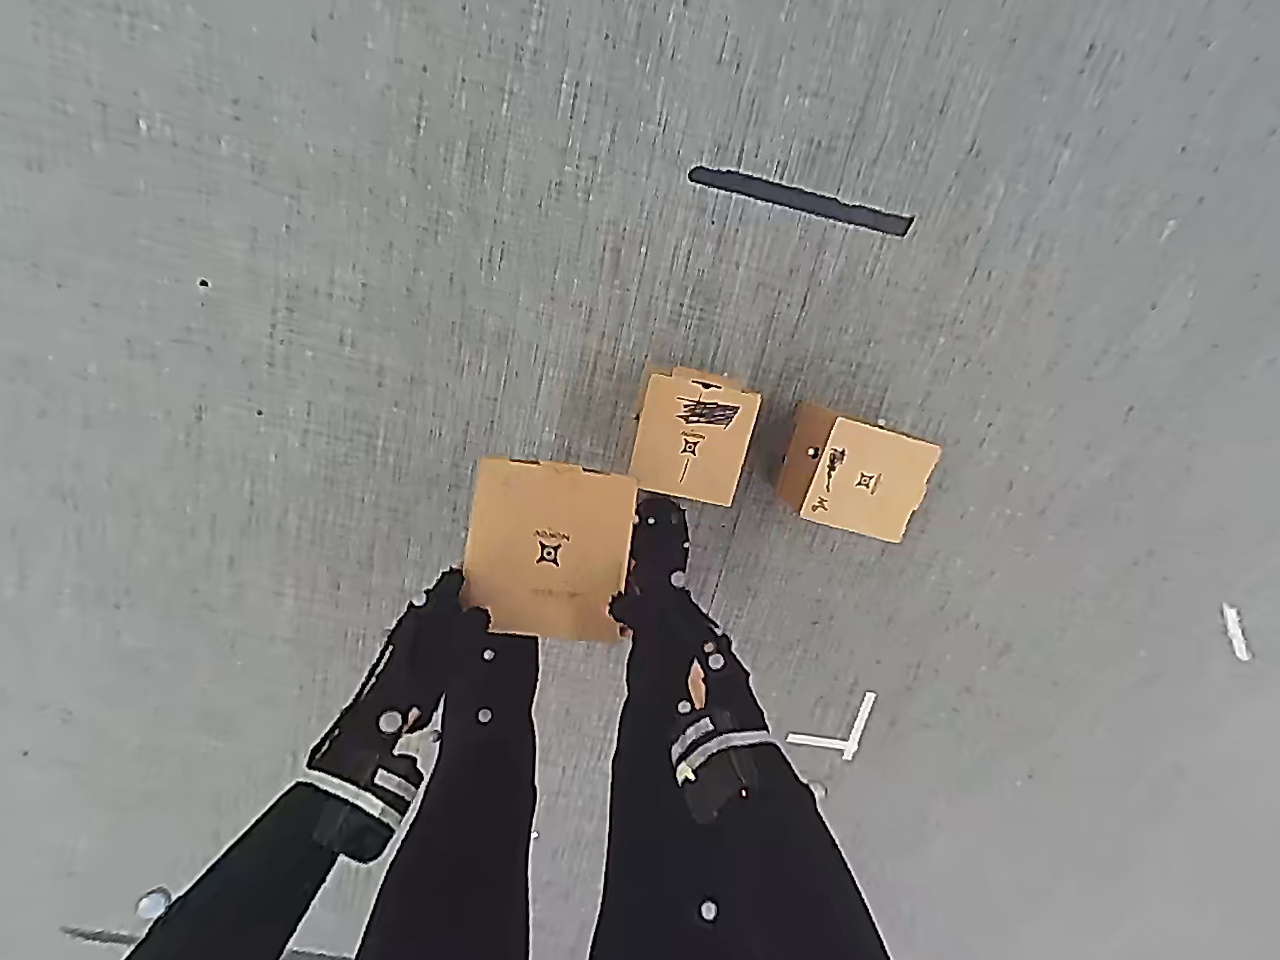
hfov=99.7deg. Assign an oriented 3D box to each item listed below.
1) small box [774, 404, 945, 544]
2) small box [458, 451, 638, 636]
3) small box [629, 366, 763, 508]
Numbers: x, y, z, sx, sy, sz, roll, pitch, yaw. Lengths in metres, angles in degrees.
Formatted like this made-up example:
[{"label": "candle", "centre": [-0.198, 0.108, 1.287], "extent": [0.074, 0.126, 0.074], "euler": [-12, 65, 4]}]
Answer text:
[{"label": "small box", "centre": [0.347, -0.019, 0.890], "extent": [0.179, 0.176, 0.168], "euler": [15, 106, -7]}, {"label": "small box", "centre": [-0.101, 0.070, 0.627], "extent": [0.168, 0.176, 0.179], "euler": [6, 86, -6]}, {"label": "small box", "centre": [0.078, -0.077, 0.863], "extent": [0.168, 0.176, 0.179], "euler": [12, 106, -5]}]
